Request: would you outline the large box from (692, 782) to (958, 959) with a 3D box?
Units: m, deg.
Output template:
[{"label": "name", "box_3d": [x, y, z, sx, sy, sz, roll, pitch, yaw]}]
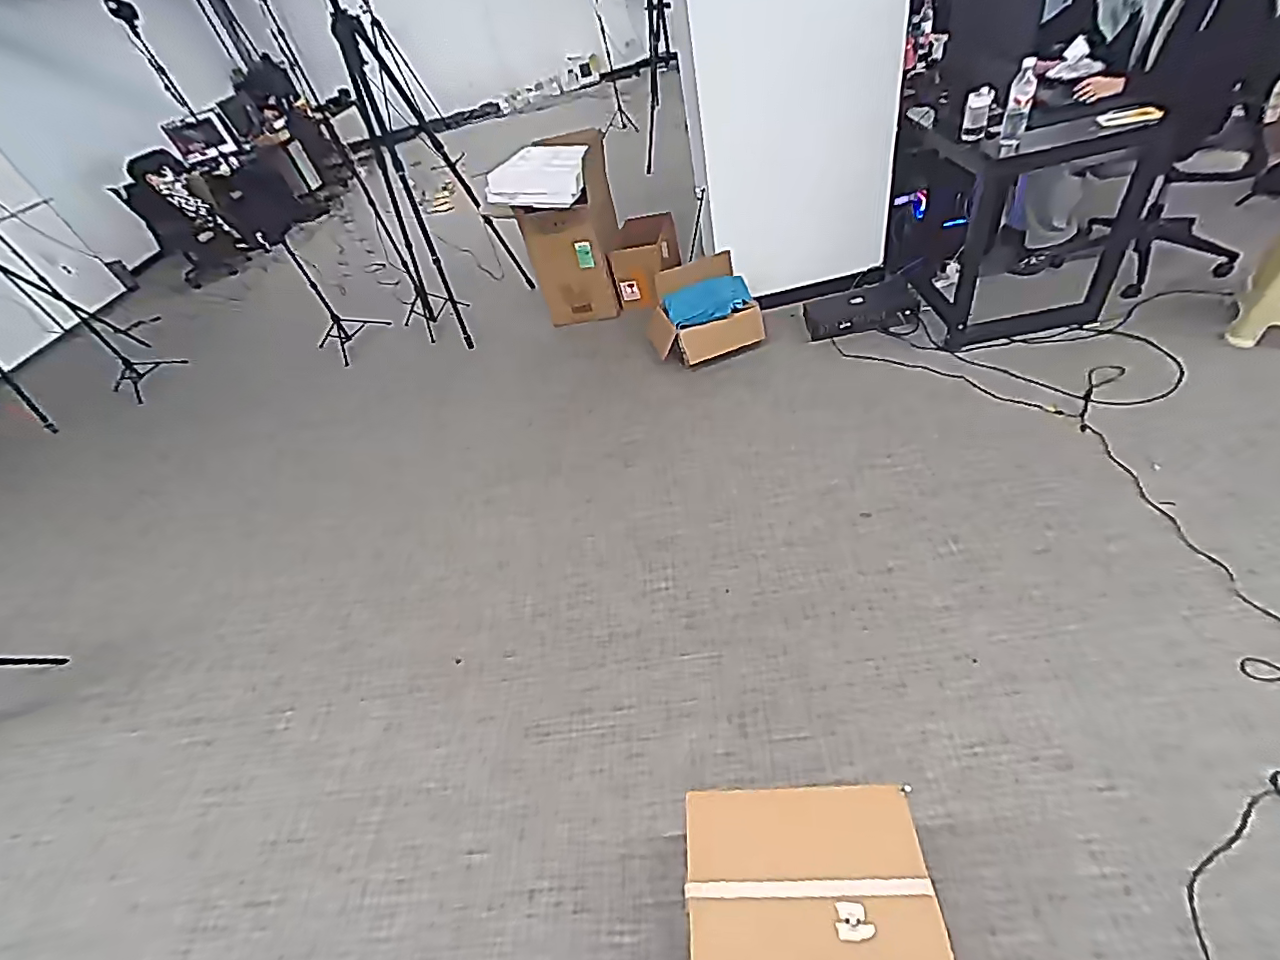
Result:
[{"label": "large box", "box_3d": [0.322, 0.798, 1.022, 0.408, 0.320, 0.320, -8, 45, 9]}]
